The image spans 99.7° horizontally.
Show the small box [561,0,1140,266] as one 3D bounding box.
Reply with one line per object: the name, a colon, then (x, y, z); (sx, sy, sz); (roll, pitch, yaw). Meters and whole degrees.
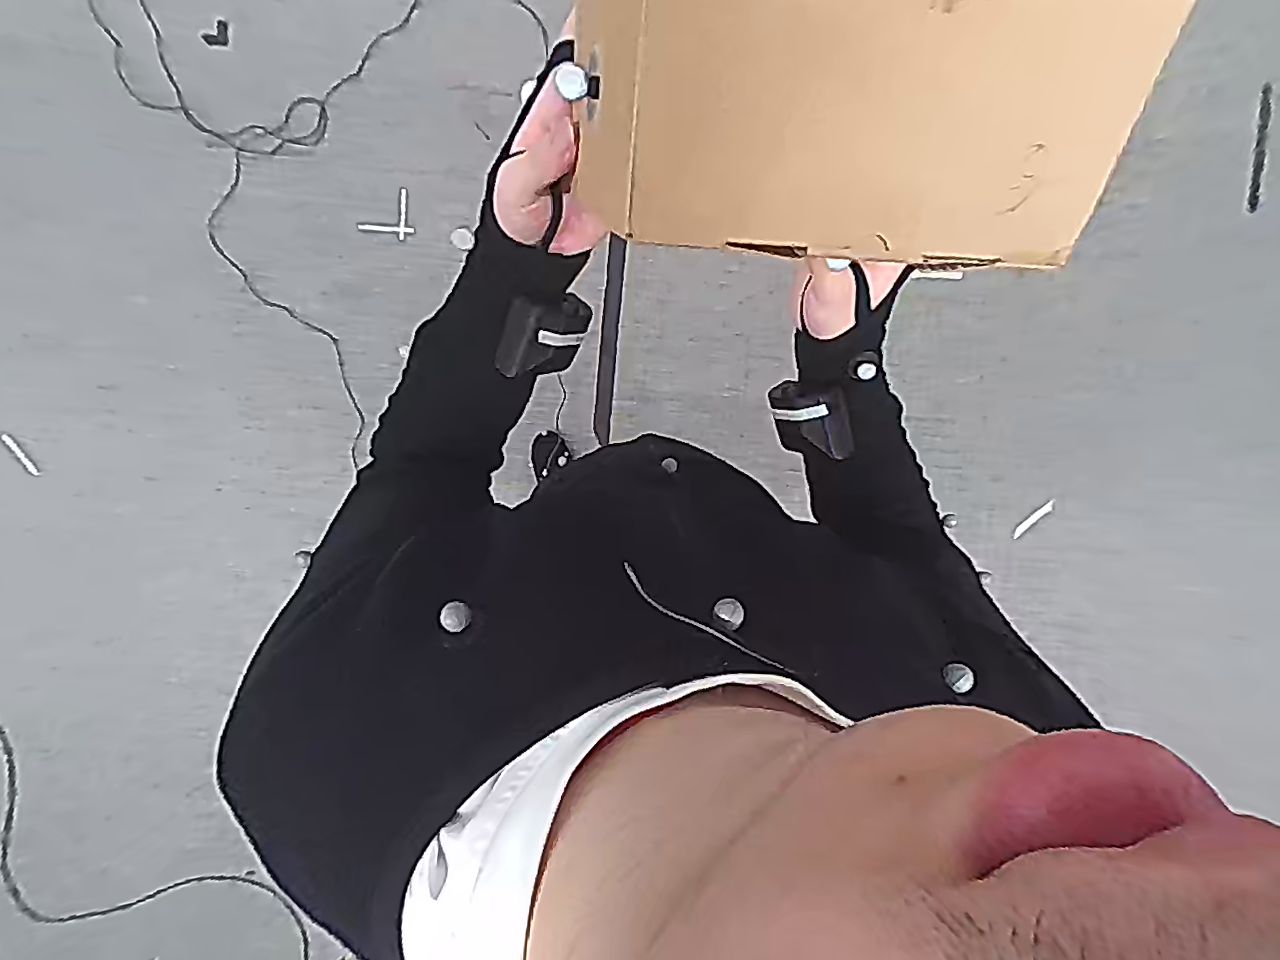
small box: (0.060, -0.196, 0.215); (0.168, 0.176, 0.179); (-3, 121, -13)
